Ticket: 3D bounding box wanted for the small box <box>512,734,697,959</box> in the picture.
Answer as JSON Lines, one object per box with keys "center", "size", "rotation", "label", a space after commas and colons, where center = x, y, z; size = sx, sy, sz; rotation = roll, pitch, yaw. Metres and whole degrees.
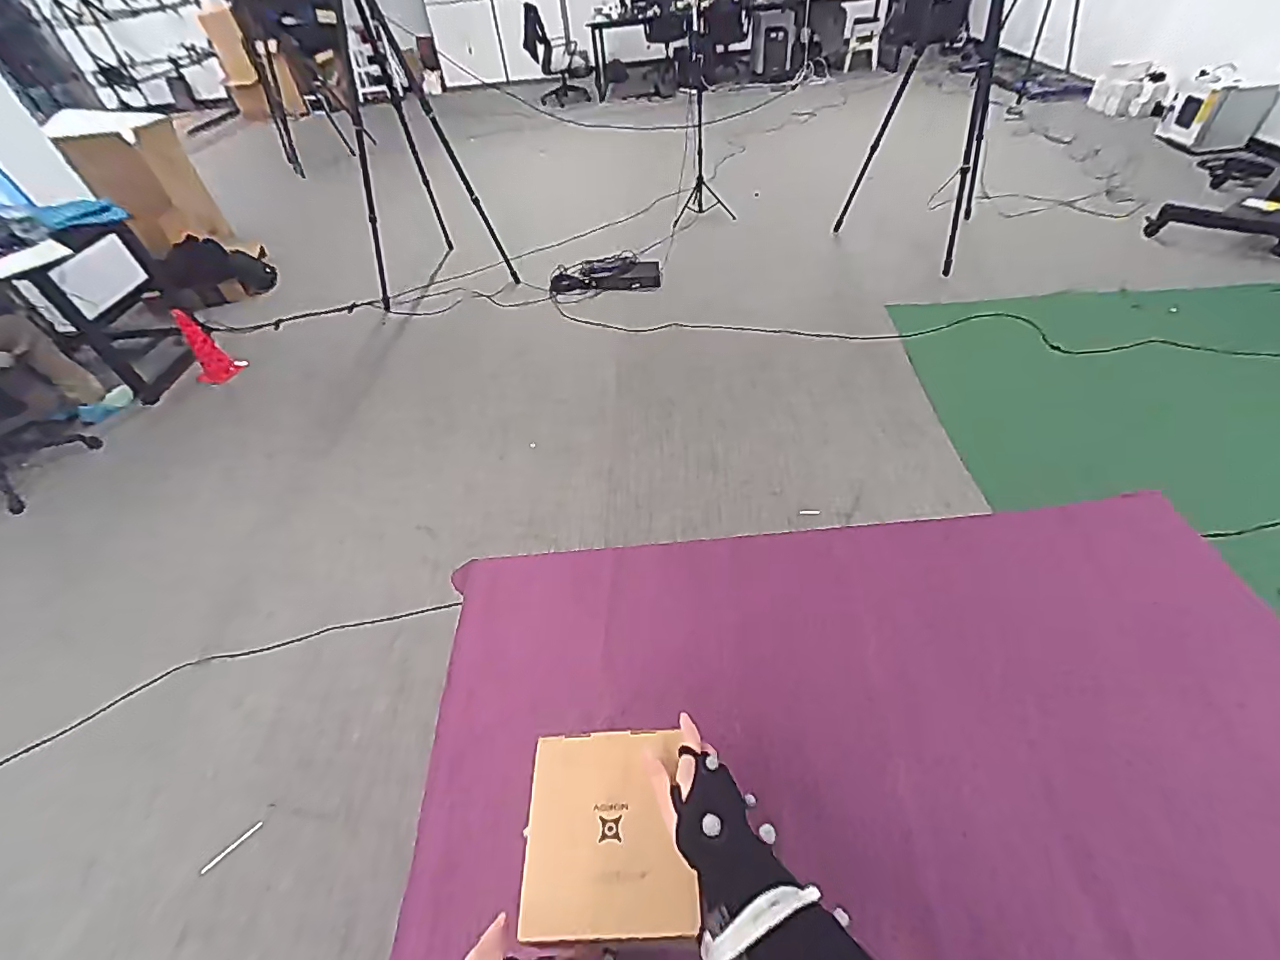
{"center": [-0.027, 0.399, 0.588], "size": [0.168, 0.176, 0.179], "rotation": [-5, 46, 3], "label": "small box"}
